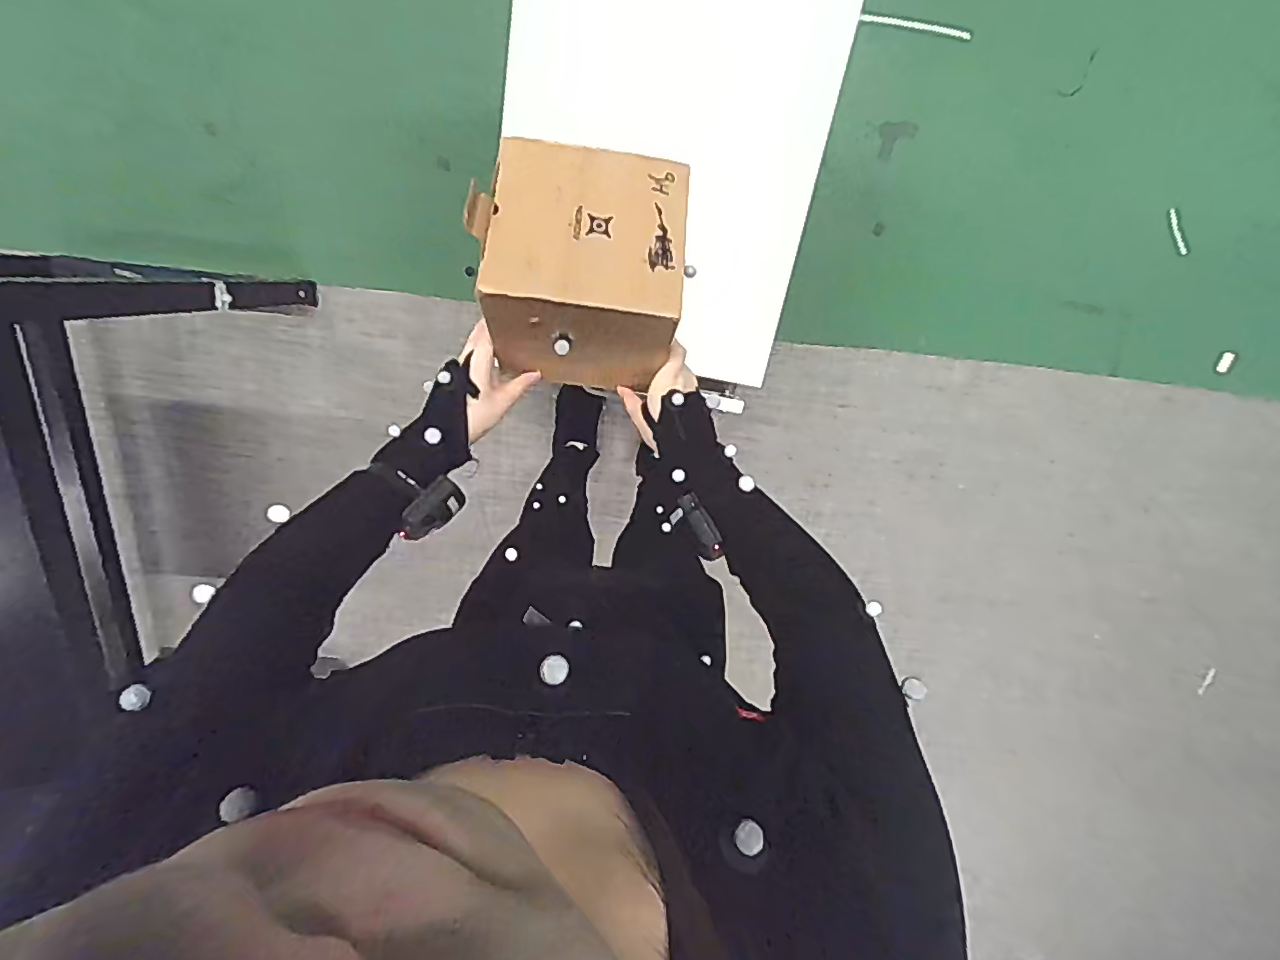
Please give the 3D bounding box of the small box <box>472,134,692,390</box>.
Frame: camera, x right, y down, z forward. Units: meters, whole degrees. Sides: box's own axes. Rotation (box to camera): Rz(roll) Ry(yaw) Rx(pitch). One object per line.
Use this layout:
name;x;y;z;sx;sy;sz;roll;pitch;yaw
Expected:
small box;-0.052;-0.202;0.543;0.179;0.176;0.168;6;75;-4
